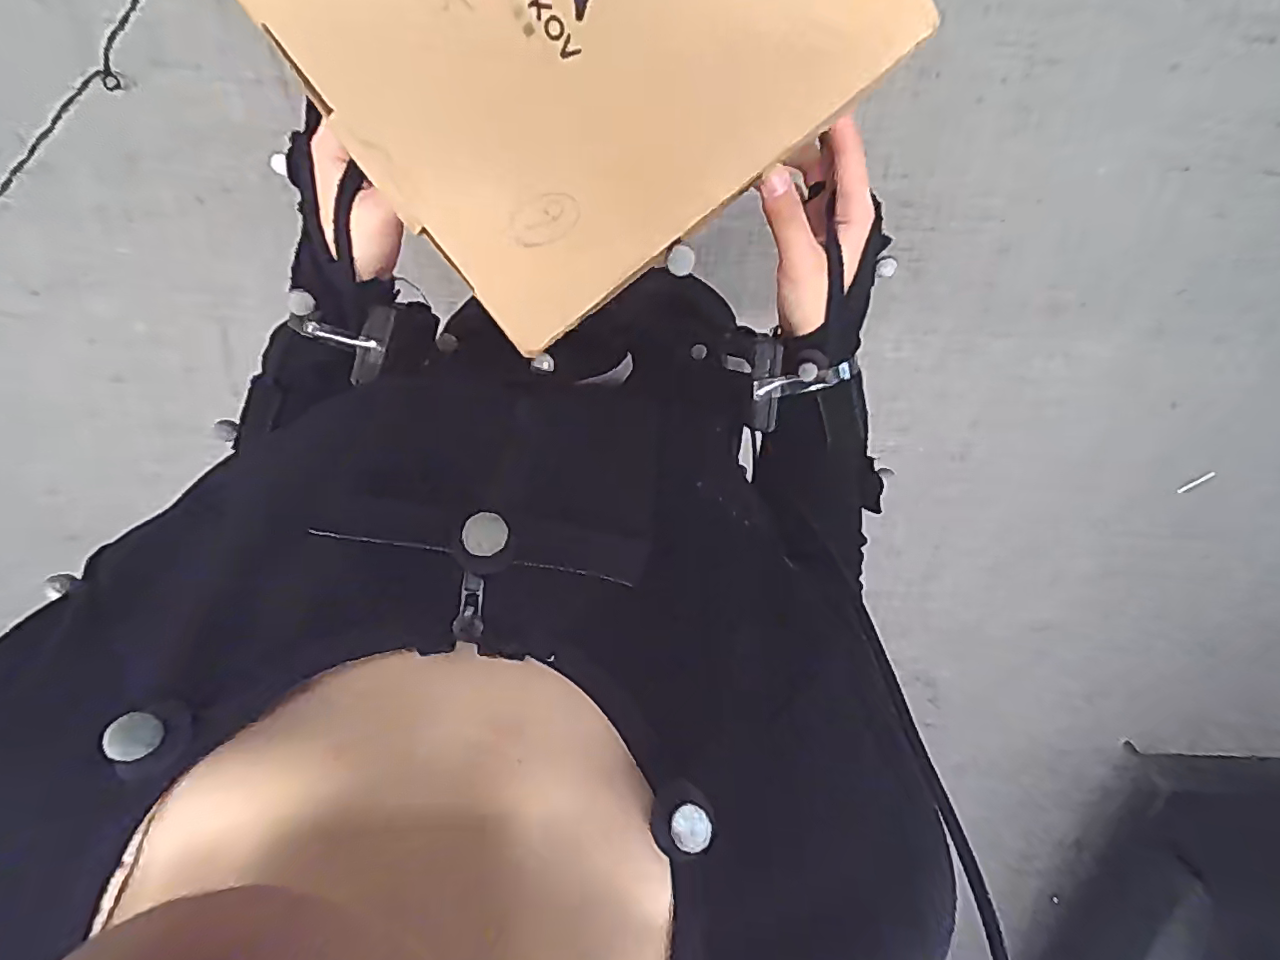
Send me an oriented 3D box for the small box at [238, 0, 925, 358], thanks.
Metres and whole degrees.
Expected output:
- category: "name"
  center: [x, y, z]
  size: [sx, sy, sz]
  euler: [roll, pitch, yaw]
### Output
- category: "small box"
  center: [-0.018, -0.182, 0.247]
  size: [0.179, 0.176, 0.168]
  euler: [-34, 106, 16]
